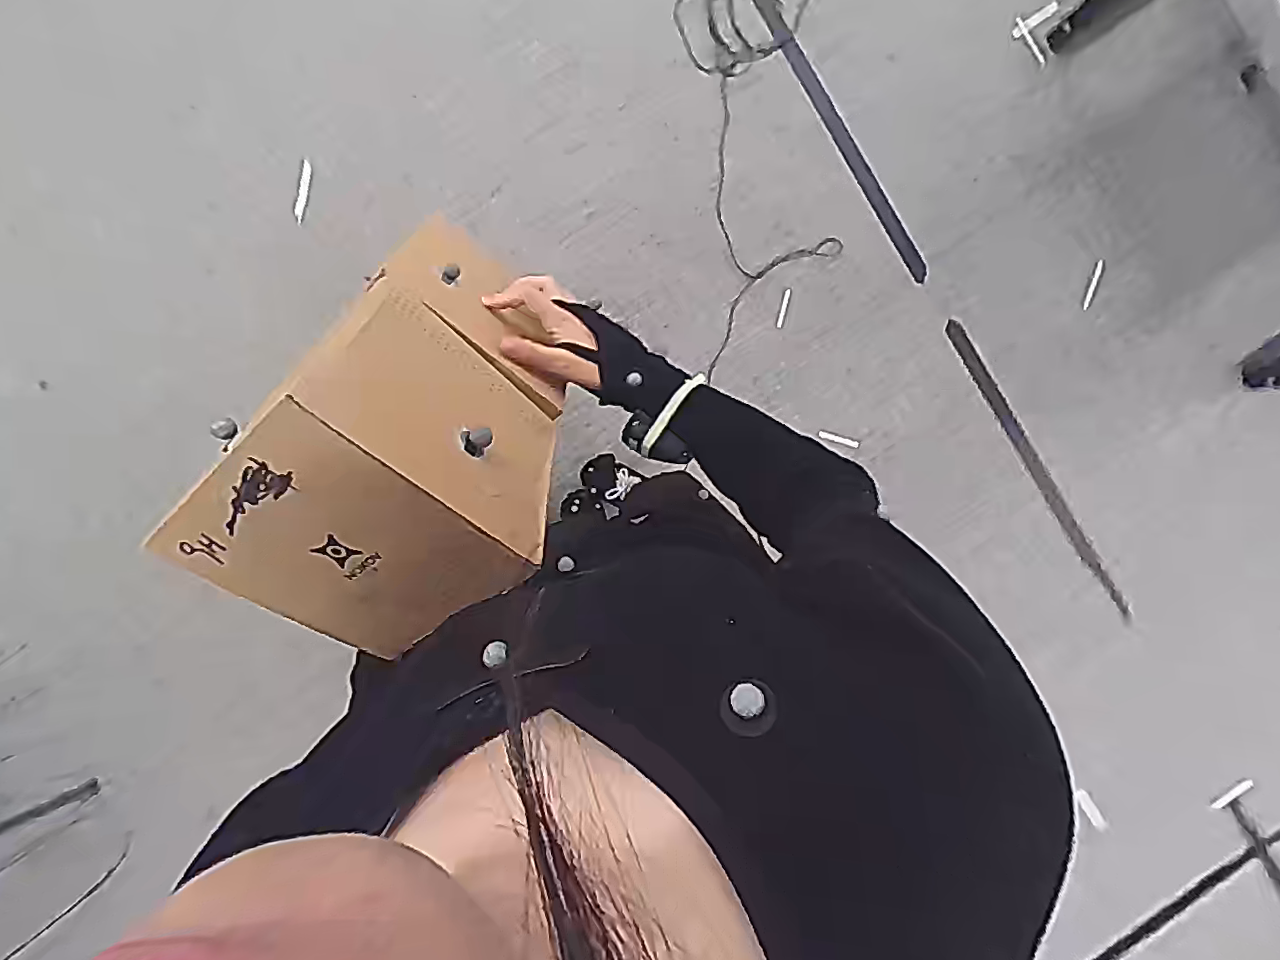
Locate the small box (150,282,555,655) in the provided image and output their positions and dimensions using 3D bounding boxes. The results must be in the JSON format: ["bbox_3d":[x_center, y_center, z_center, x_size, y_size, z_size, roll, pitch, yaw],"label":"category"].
[{"bbox_3d":[-0.178,-0.007,0.396,0.168,0.176,0.179,-32,126,21],"label":"small box"}]
